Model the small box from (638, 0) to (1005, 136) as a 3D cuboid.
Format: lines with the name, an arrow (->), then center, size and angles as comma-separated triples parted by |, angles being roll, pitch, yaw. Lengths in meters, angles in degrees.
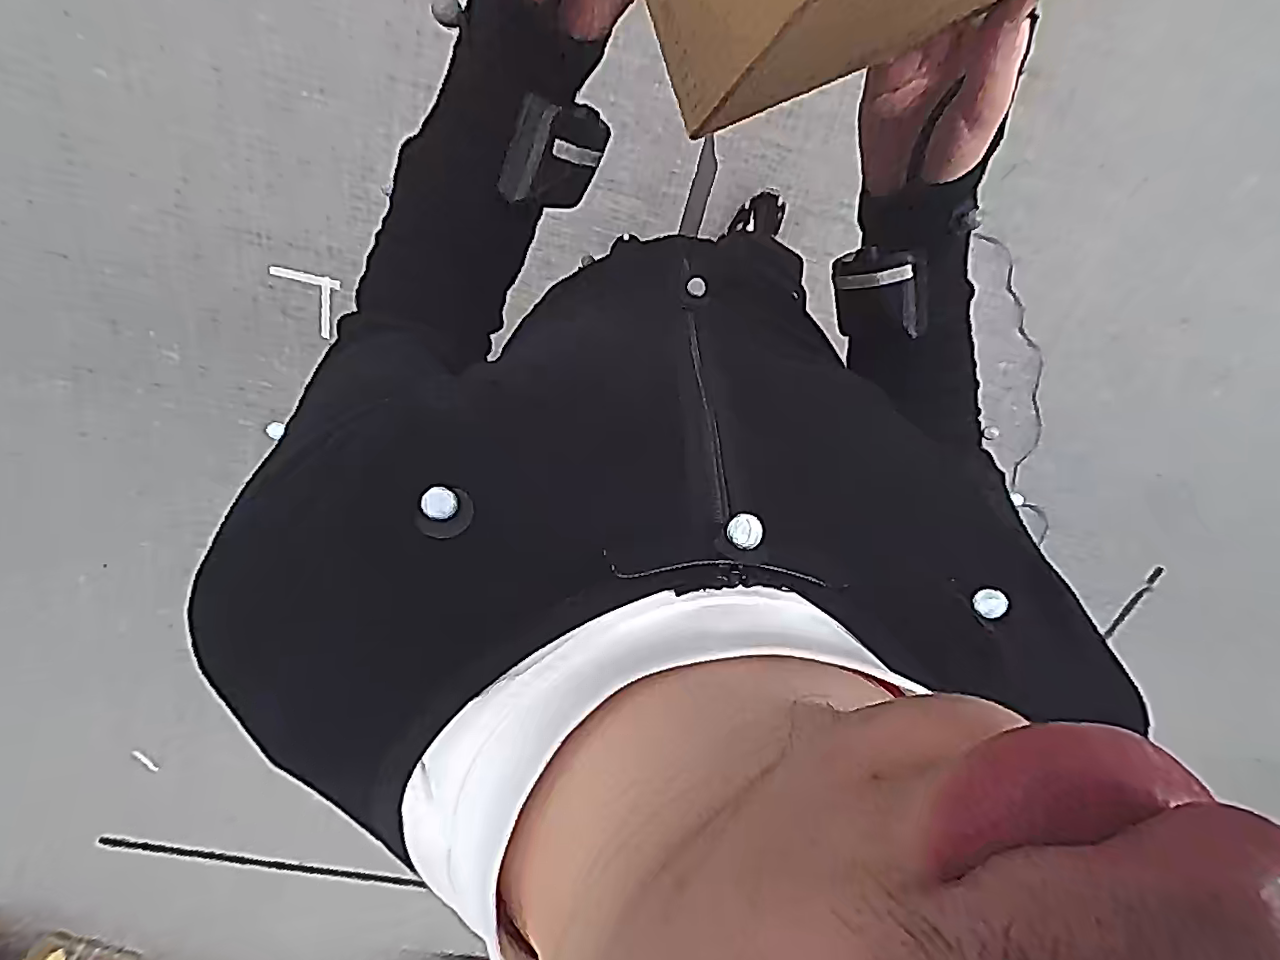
small box -> 0.086, -0.252, 0.178 | 0.179, 0.176, 0.168 | -24, 109, -1
